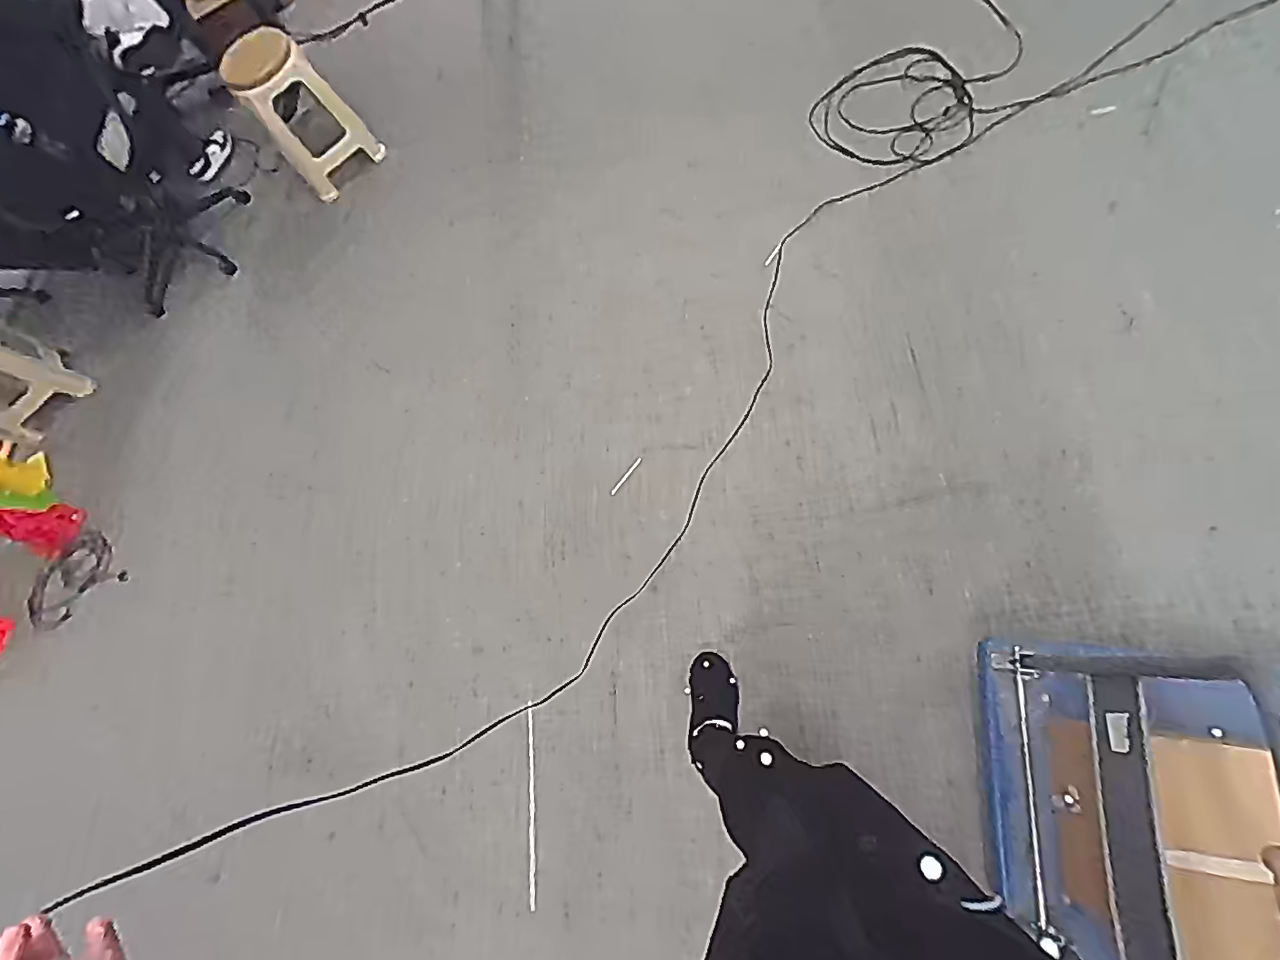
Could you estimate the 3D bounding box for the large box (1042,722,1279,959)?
[{"bbox_3d":[0.956,0.585,0.865,0.408,0.320,0.320,2,73,14],"label":"large box"}]
